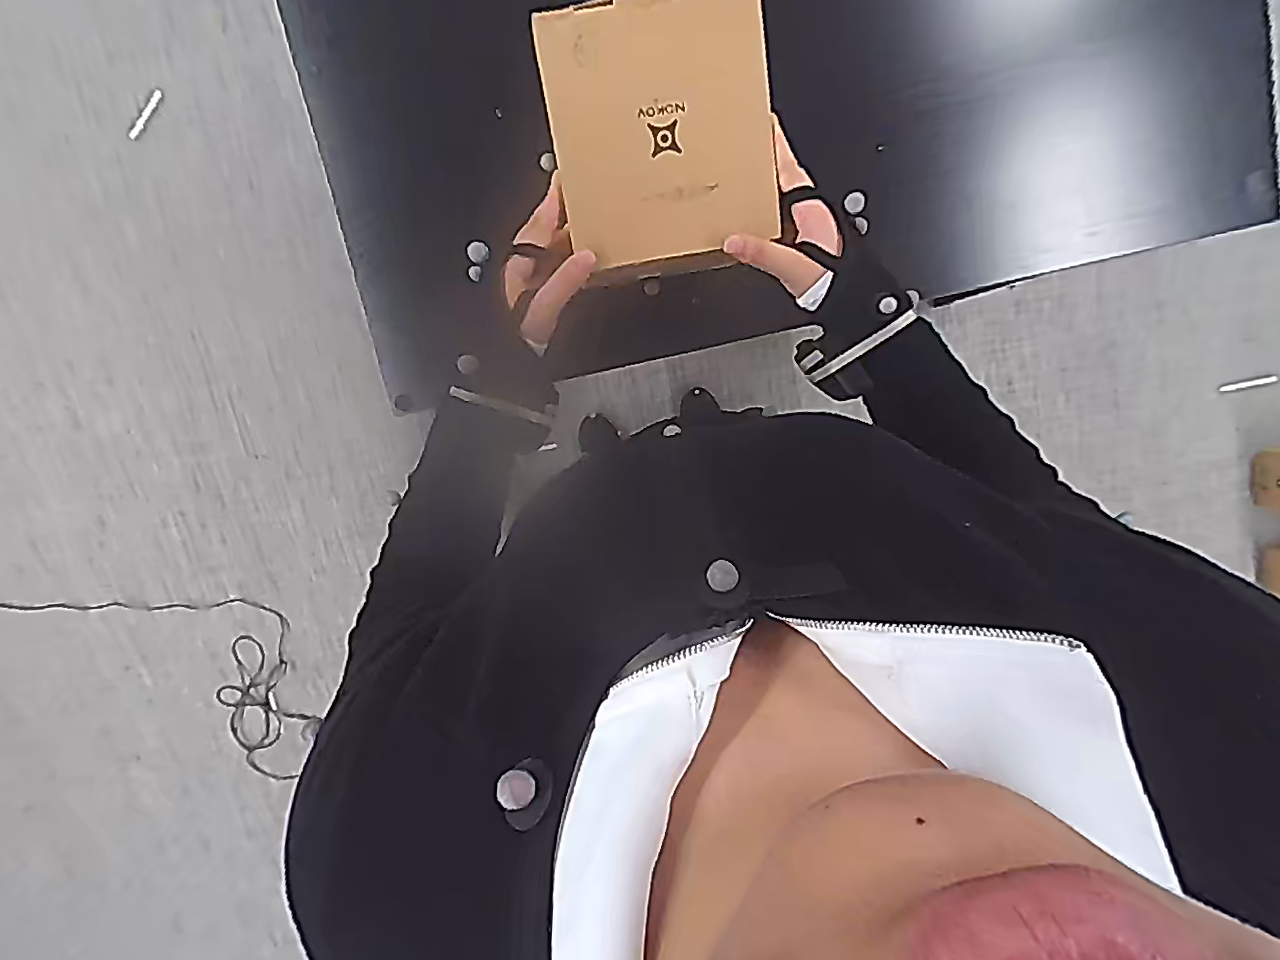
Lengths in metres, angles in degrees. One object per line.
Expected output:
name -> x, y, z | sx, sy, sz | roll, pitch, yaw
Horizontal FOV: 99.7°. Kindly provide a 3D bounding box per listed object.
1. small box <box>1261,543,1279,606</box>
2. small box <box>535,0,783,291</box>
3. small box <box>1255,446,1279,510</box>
small box -> 1.864, 0.270, 1.470 | 0.168, 0.176, 0.179 | -12, 98, 1
small box -> 0.012, -0.274, 0.472 | 0.168, 0.176, 0.179 | -10, 106, -1
small box -> 1.797, -0.005, 1.426 | 0.179, 0.176, 0.168 | -10, 98, 1
